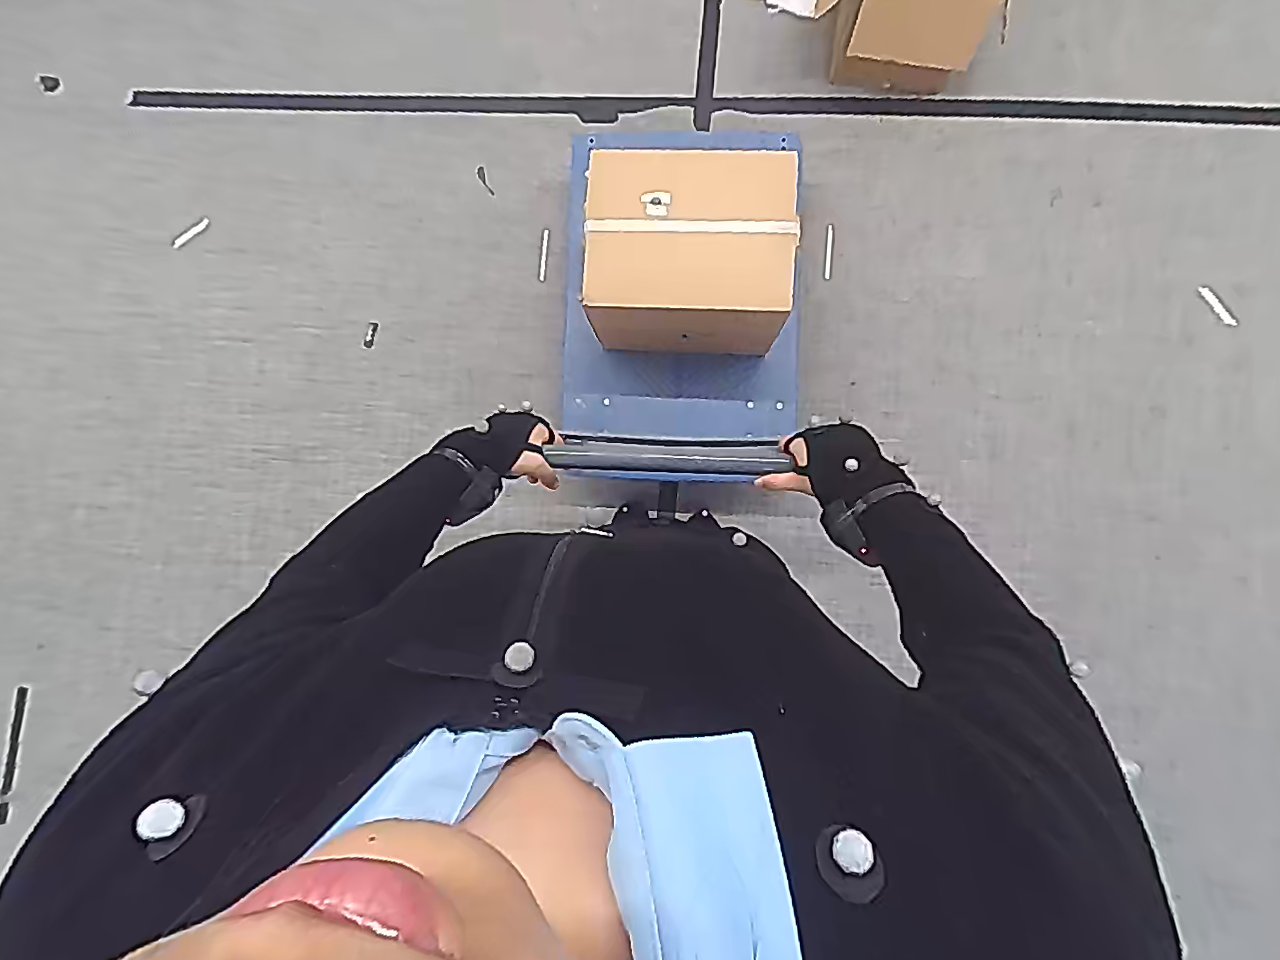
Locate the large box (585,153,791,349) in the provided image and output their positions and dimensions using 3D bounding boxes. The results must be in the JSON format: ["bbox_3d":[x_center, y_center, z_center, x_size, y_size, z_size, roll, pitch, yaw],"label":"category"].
[{"bbox_3d":[0.107,-0.483,1.209,0.408,0.320,0.320,2,87,5],"label":"large box"}]
